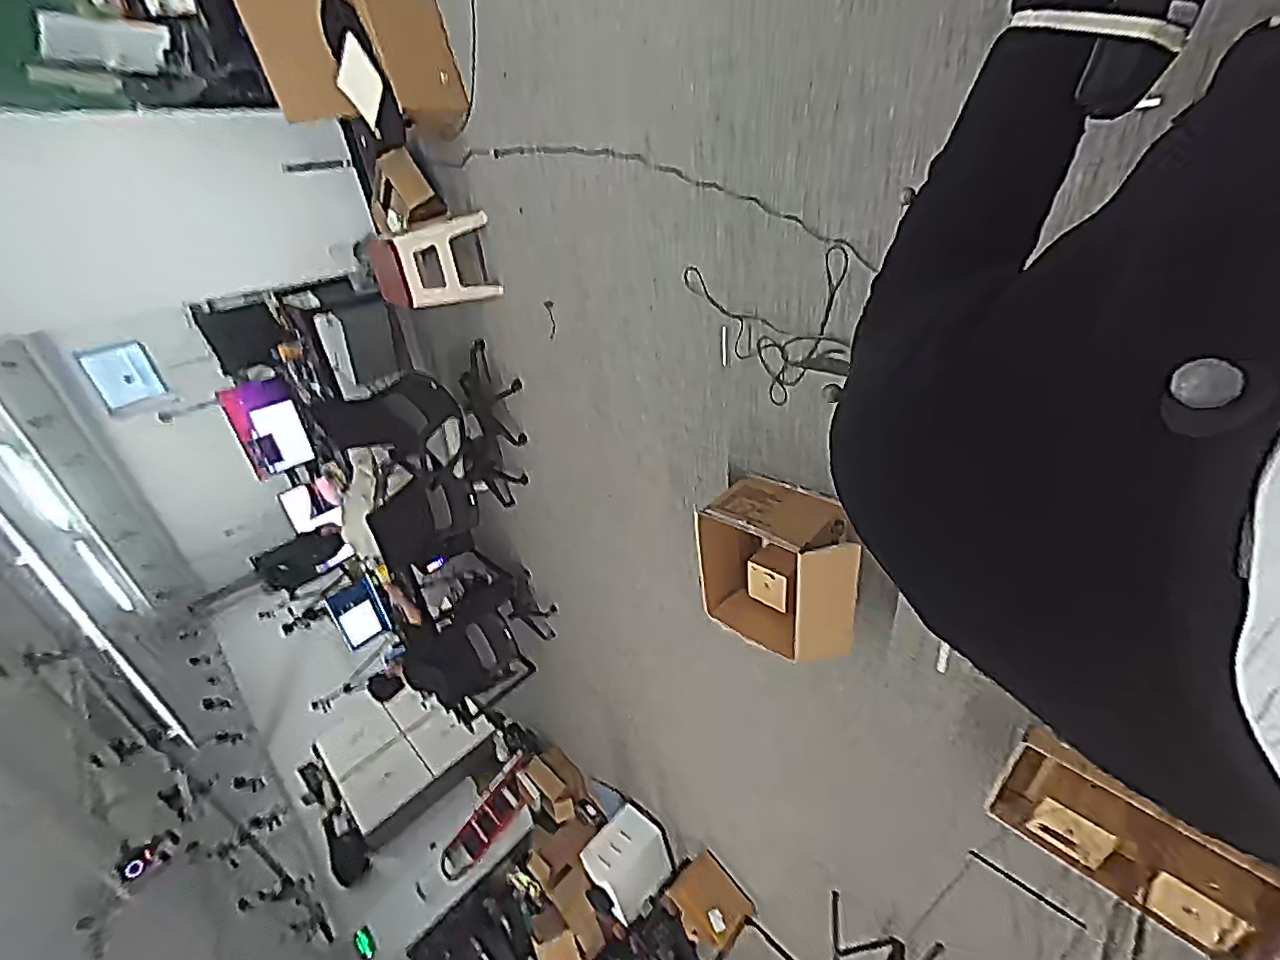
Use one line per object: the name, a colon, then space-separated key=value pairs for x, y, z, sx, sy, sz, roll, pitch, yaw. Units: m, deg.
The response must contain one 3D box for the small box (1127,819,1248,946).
small box: x=1.442 y=1.051 z=1.424 sx=0.179 sy=0.176 sz=0.168 roll=29 pitch=133 yaw=37
